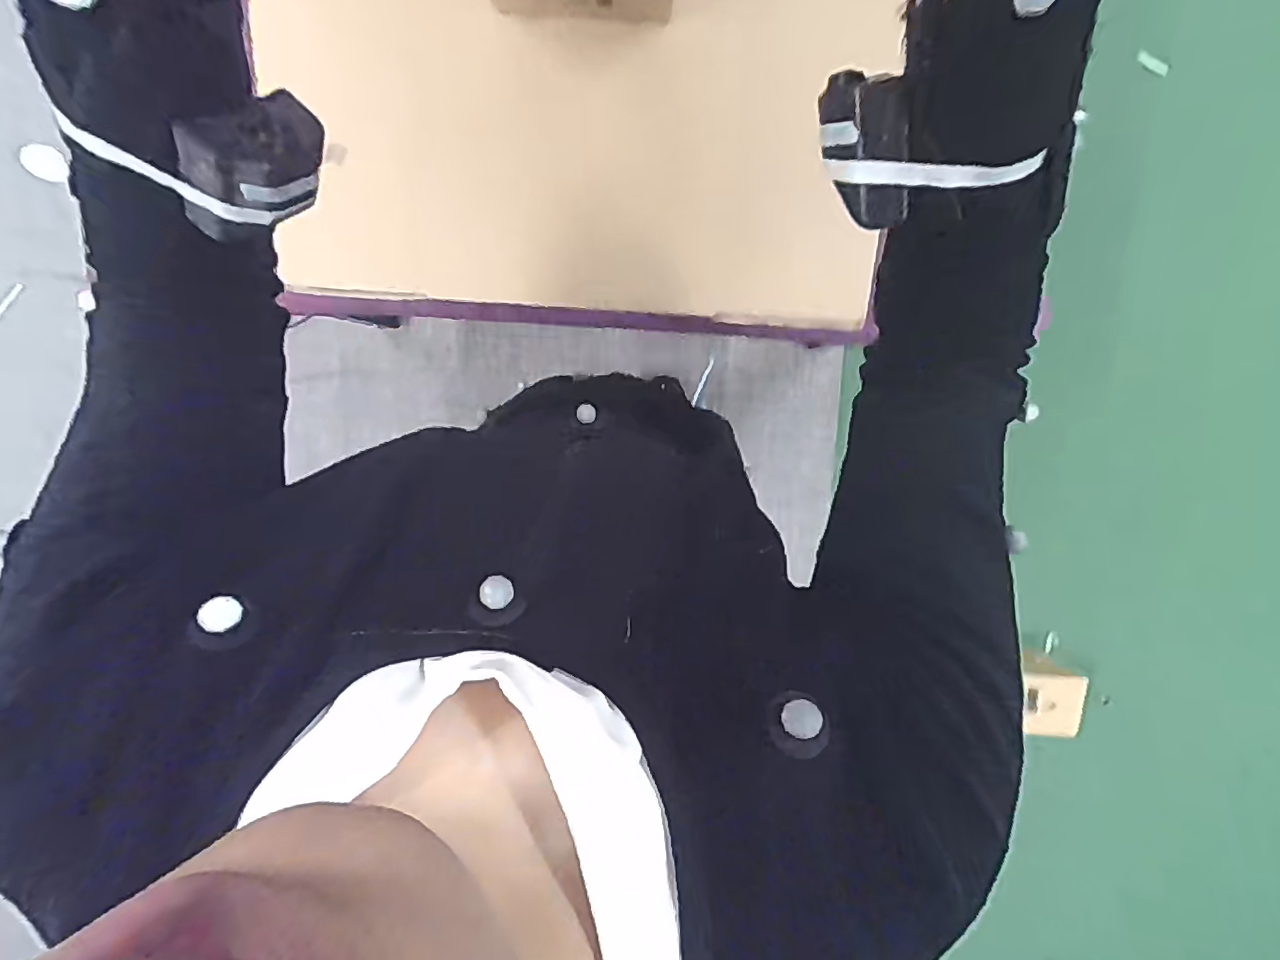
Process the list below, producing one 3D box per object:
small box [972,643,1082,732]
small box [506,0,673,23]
[{"bbox_3d":[1.053,0.563,1.487,0.179,0.176,0.168,3,101,0],"label":"small box"},{"bbox_3d":[-0.046,-0.496,0.399,0.168,0.176,0.179,4,99,1],"label":"small box"}]
